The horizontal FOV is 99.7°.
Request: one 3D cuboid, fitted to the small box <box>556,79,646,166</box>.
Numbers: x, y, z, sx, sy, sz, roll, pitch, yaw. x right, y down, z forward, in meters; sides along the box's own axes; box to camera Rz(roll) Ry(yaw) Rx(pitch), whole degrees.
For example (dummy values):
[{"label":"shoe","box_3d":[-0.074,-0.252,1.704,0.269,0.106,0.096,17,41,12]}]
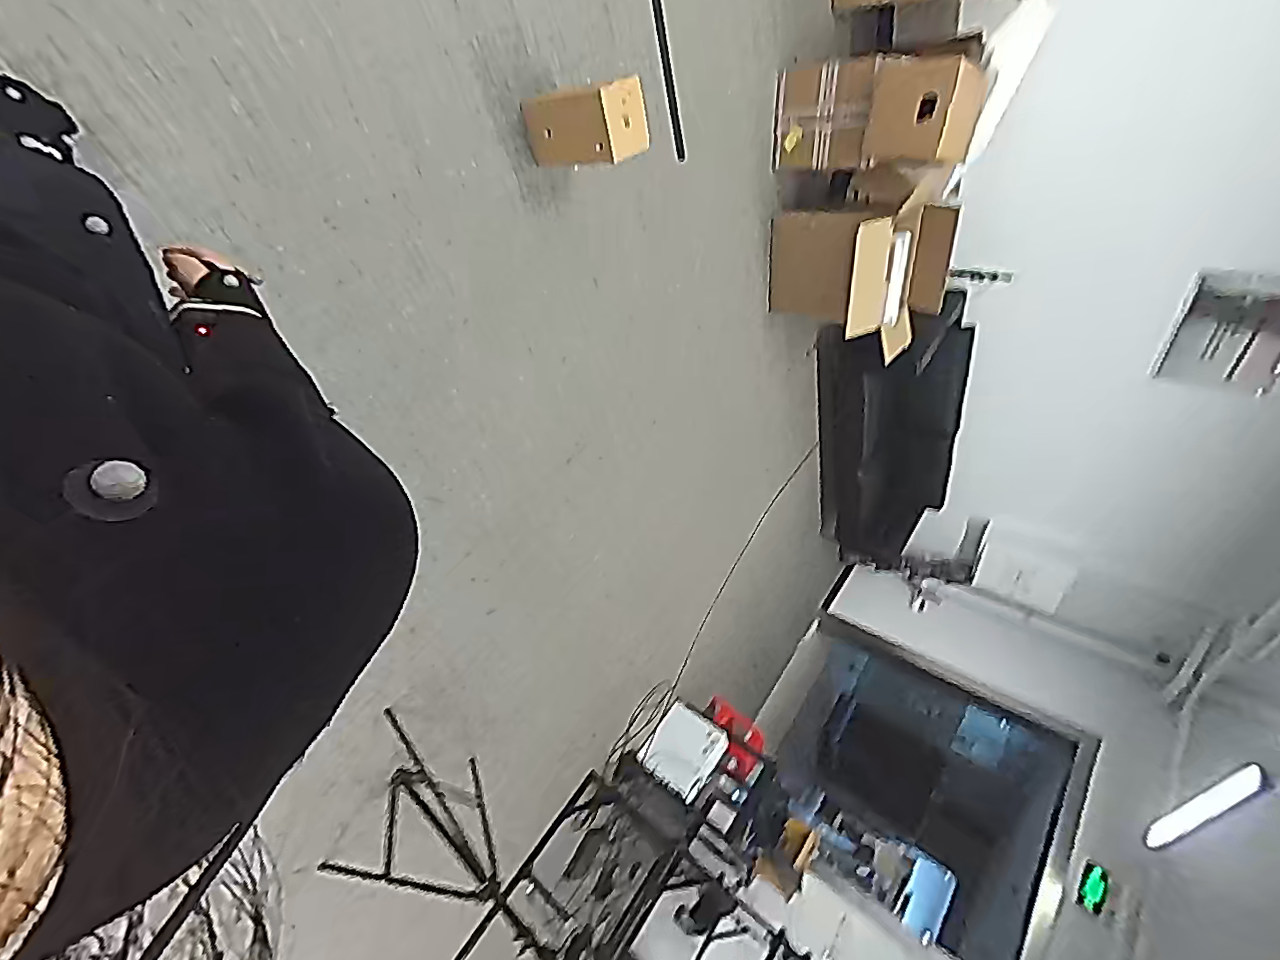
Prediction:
[{"label":"small box","box_3d":[-0.109,-1.007,1.529,0.168,0.176,0.179,-45,138,-31]}]
